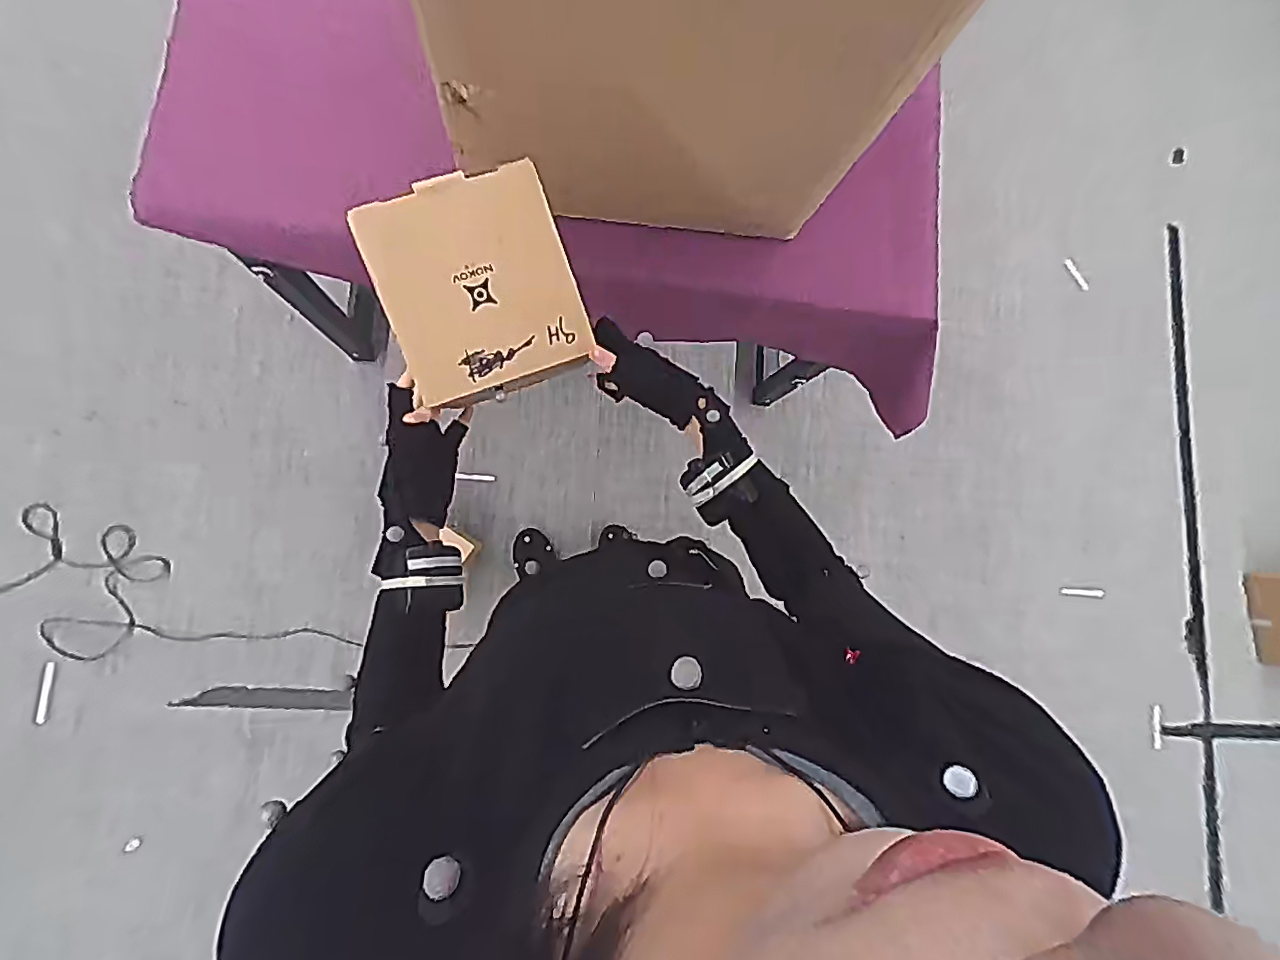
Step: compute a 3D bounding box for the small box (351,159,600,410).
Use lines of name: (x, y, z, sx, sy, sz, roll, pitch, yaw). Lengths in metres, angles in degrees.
small box: (-0.152, -0.178, 0.545, 0.168, 0.176, 0.179, -20, 99, -7)

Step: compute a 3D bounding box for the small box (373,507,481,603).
small box: (-0.524, 0.187, 1.360, 0.179, 0.176, 0.168, 36, 80, -5)
